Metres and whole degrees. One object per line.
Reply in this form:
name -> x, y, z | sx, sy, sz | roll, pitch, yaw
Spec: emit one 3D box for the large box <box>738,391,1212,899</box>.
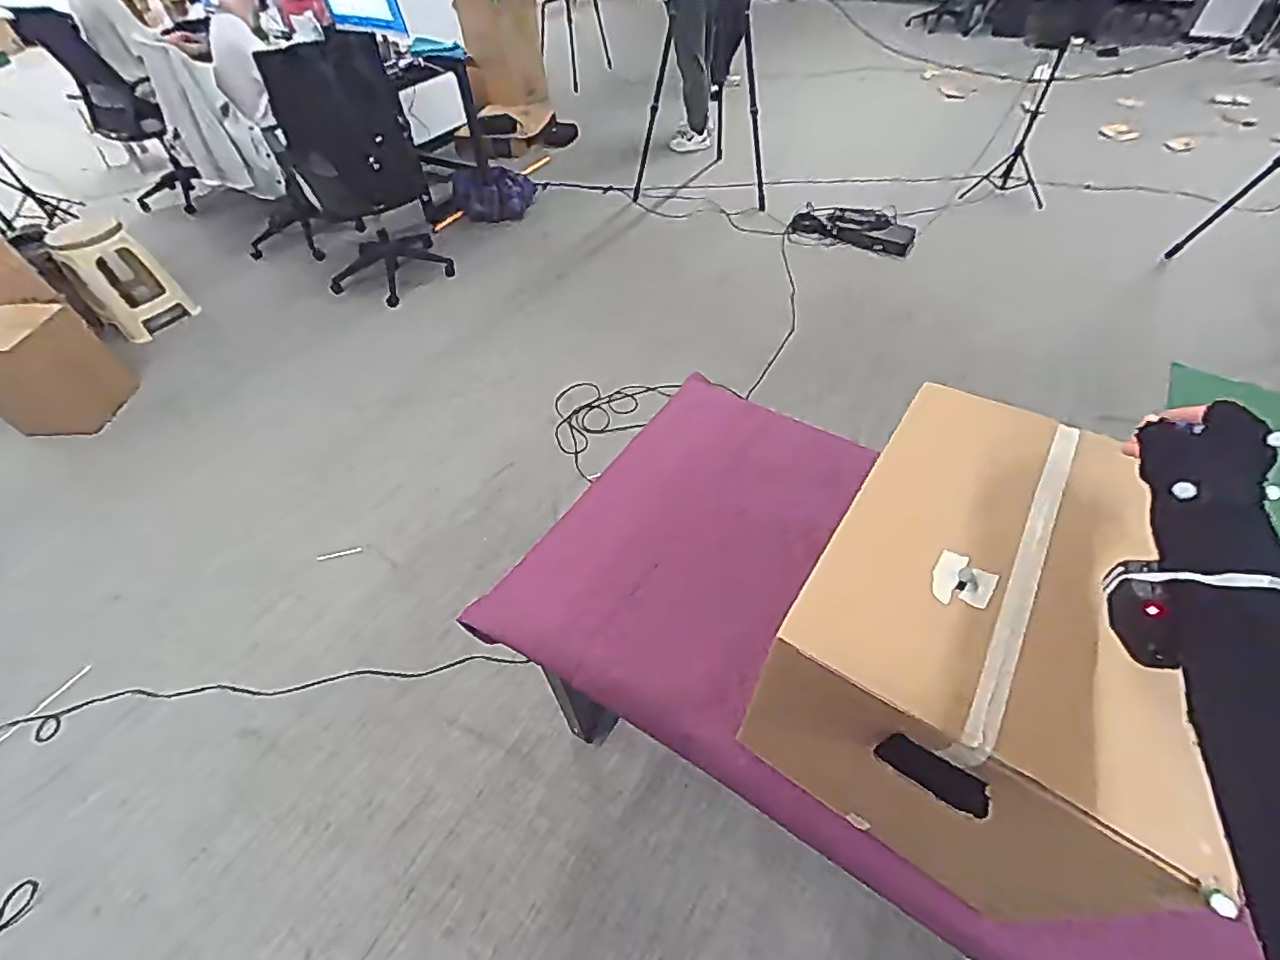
large box -> 0.355, 0.173, 0.629 | 0.320, 0.320, 0.408 | 28, 57, 24
